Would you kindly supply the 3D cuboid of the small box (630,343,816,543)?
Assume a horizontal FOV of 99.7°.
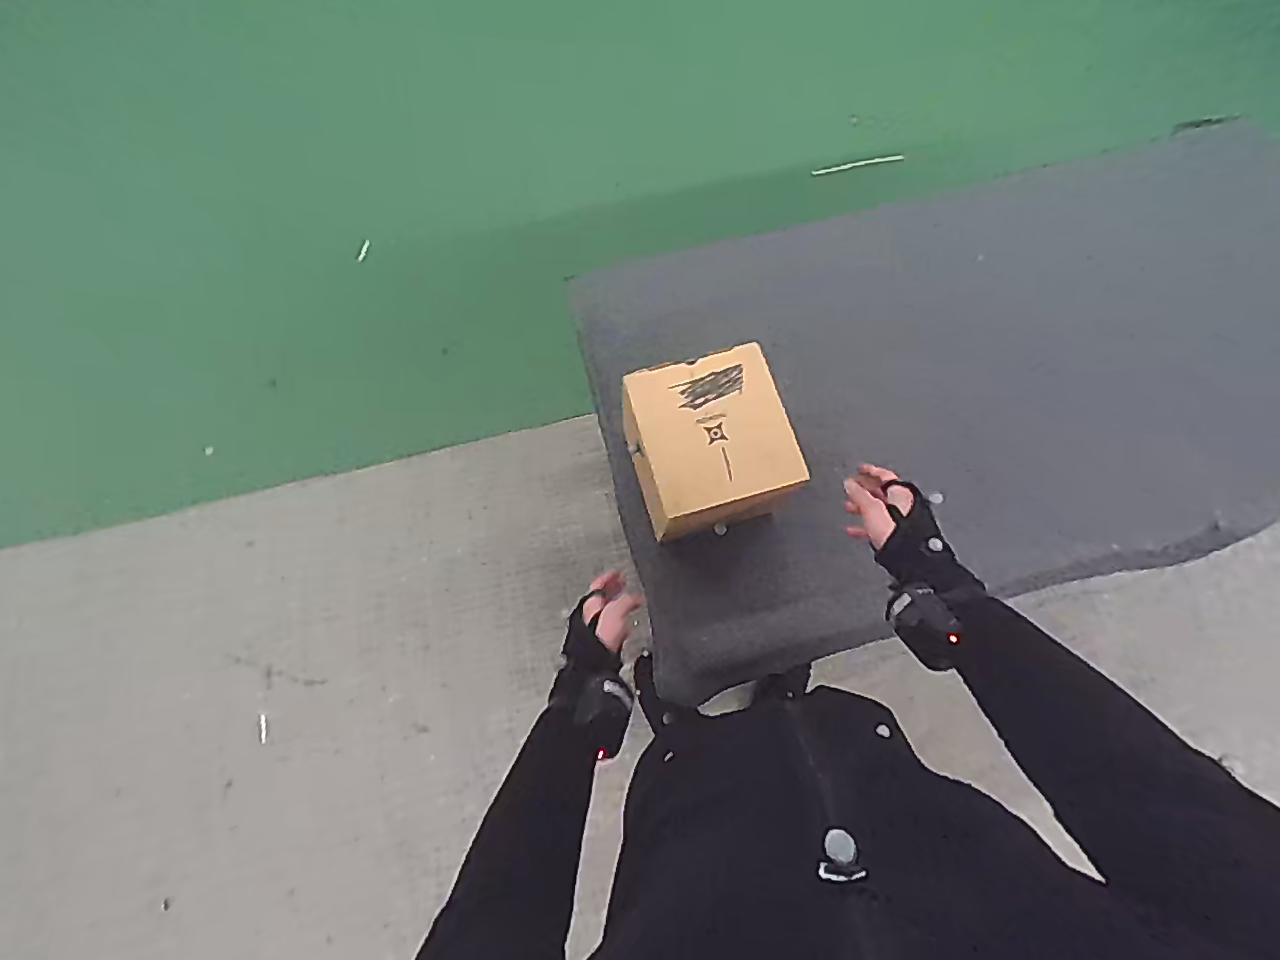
[{"bbox_3d":[0.085,-0.036,0.666,0.168,0.176,0.179,-15,75,-5],"label":"small box"}]
